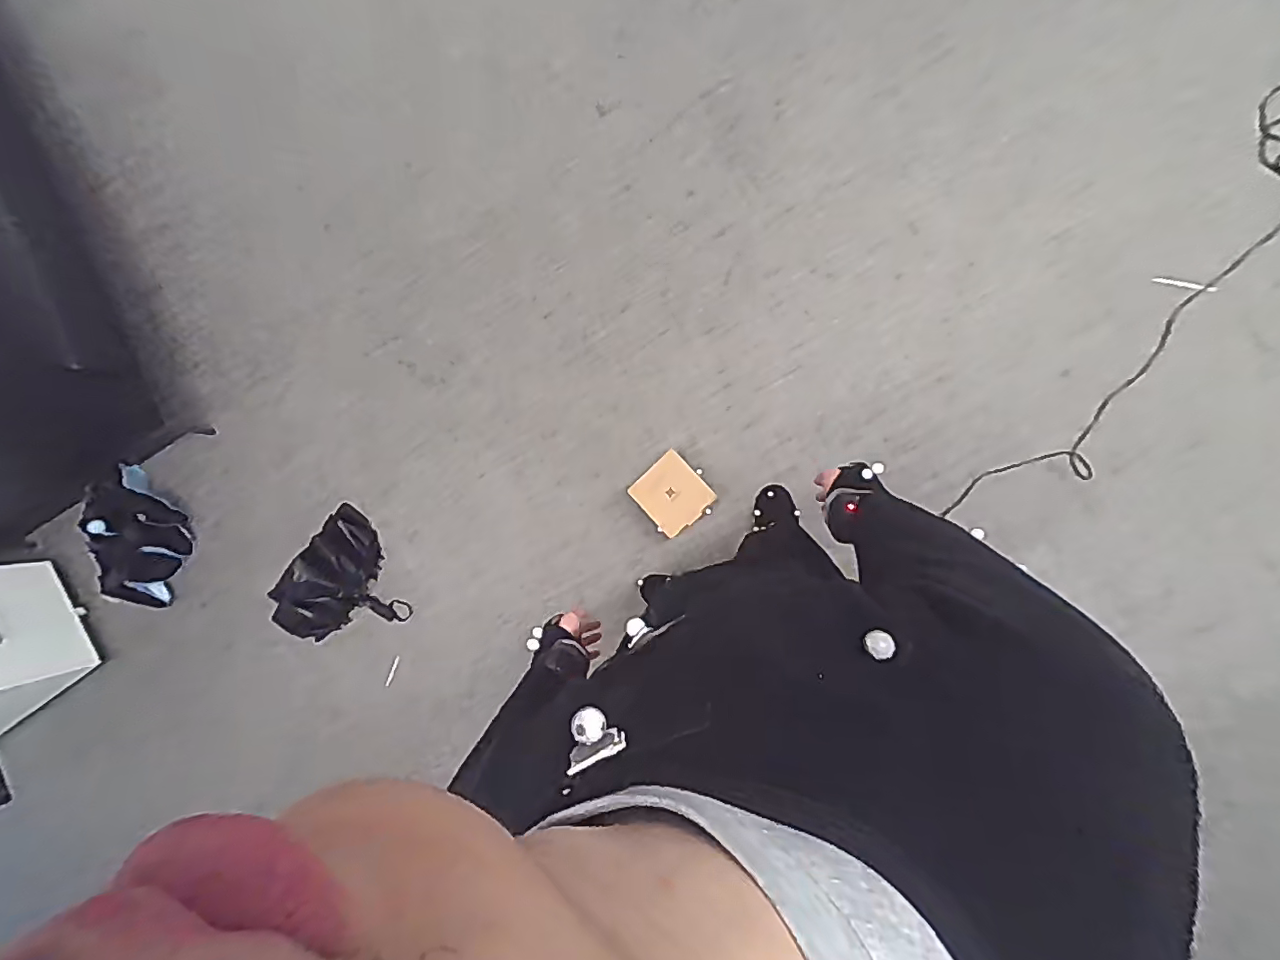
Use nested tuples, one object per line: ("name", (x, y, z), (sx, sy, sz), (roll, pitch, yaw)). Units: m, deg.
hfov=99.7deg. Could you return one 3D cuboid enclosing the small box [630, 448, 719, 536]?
("small box", (0.102, 0.032, 1.475), (0.168, 0.176, 0.179), (-43, 81, 5))
